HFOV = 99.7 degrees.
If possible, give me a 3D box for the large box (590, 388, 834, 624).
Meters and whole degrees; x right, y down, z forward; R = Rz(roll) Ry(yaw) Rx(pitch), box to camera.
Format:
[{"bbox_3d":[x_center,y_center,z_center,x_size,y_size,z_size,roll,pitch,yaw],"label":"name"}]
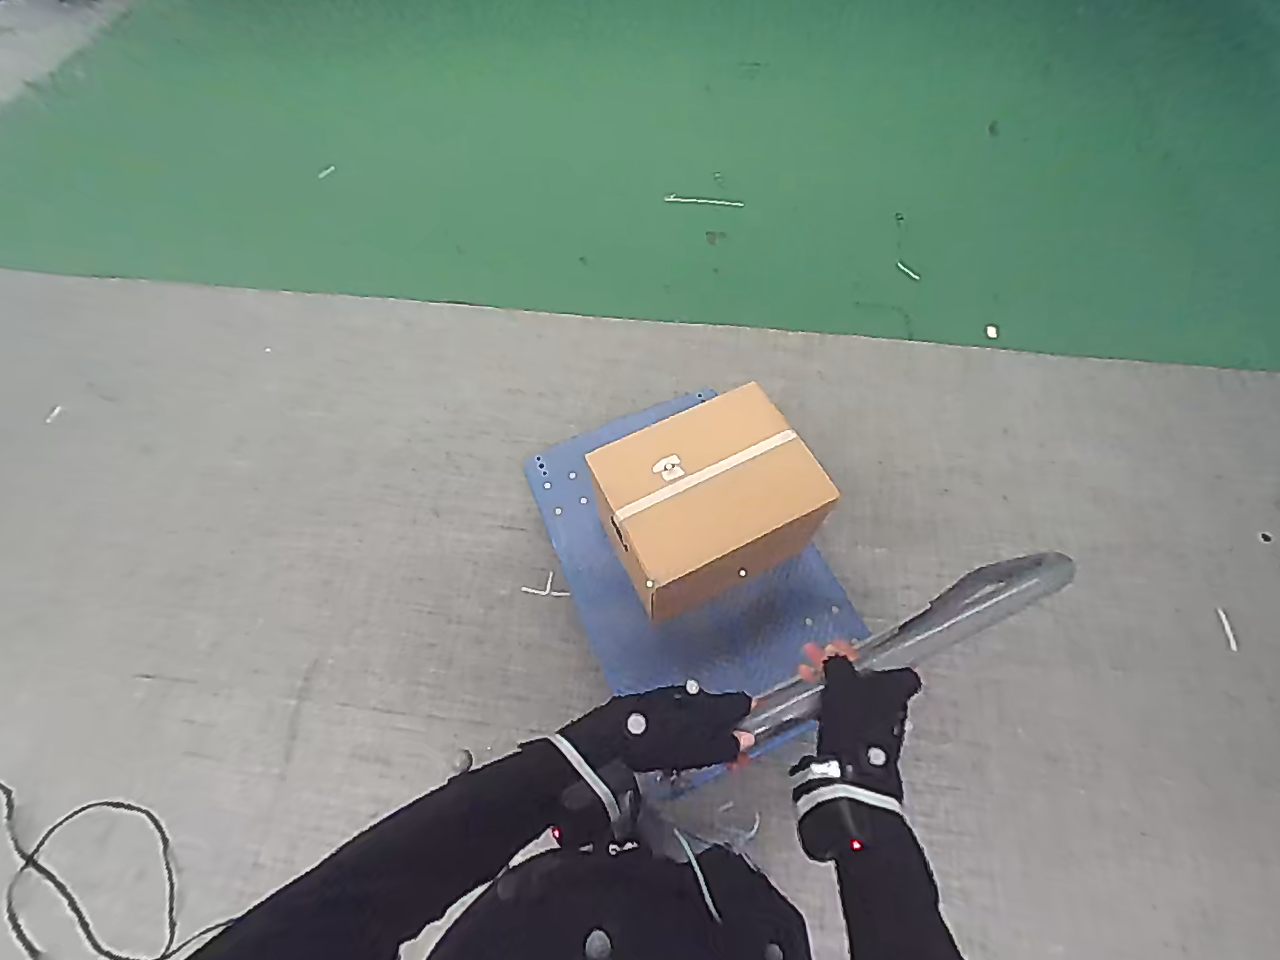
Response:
[{"bbox_3d":[0.145,0.069,1.211,0.408,0.320,0.320,-26,65,-10],"label":"large box"}]
